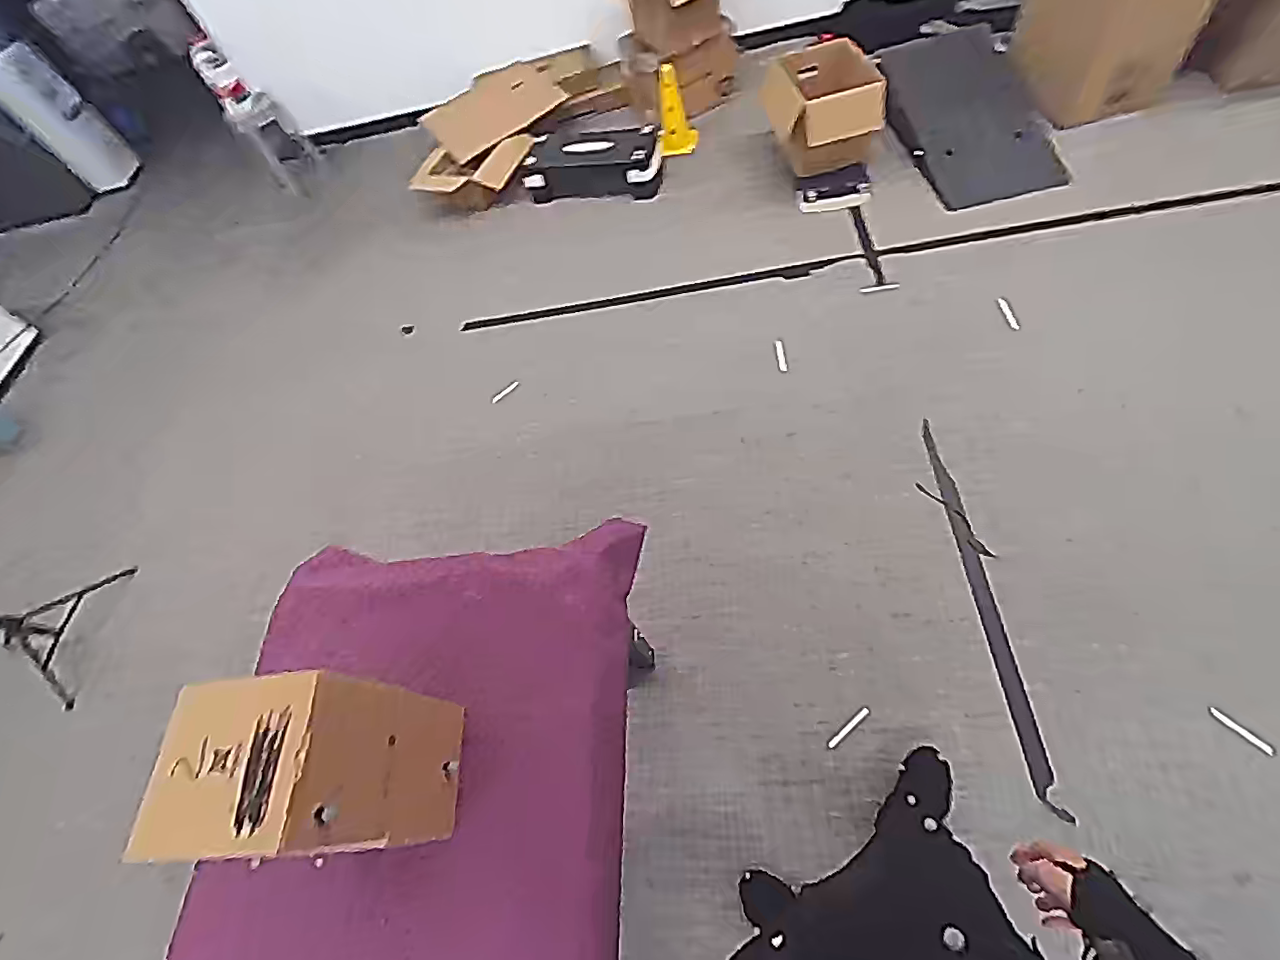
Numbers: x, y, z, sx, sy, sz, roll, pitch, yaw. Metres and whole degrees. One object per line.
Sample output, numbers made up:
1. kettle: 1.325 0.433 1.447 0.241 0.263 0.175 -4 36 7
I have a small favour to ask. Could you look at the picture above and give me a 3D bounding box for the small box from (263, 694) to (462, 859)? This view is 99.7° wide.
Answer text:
1. small box: -0.363 0.410 0.749 0.168 0.176 0.179 -10 58 8
